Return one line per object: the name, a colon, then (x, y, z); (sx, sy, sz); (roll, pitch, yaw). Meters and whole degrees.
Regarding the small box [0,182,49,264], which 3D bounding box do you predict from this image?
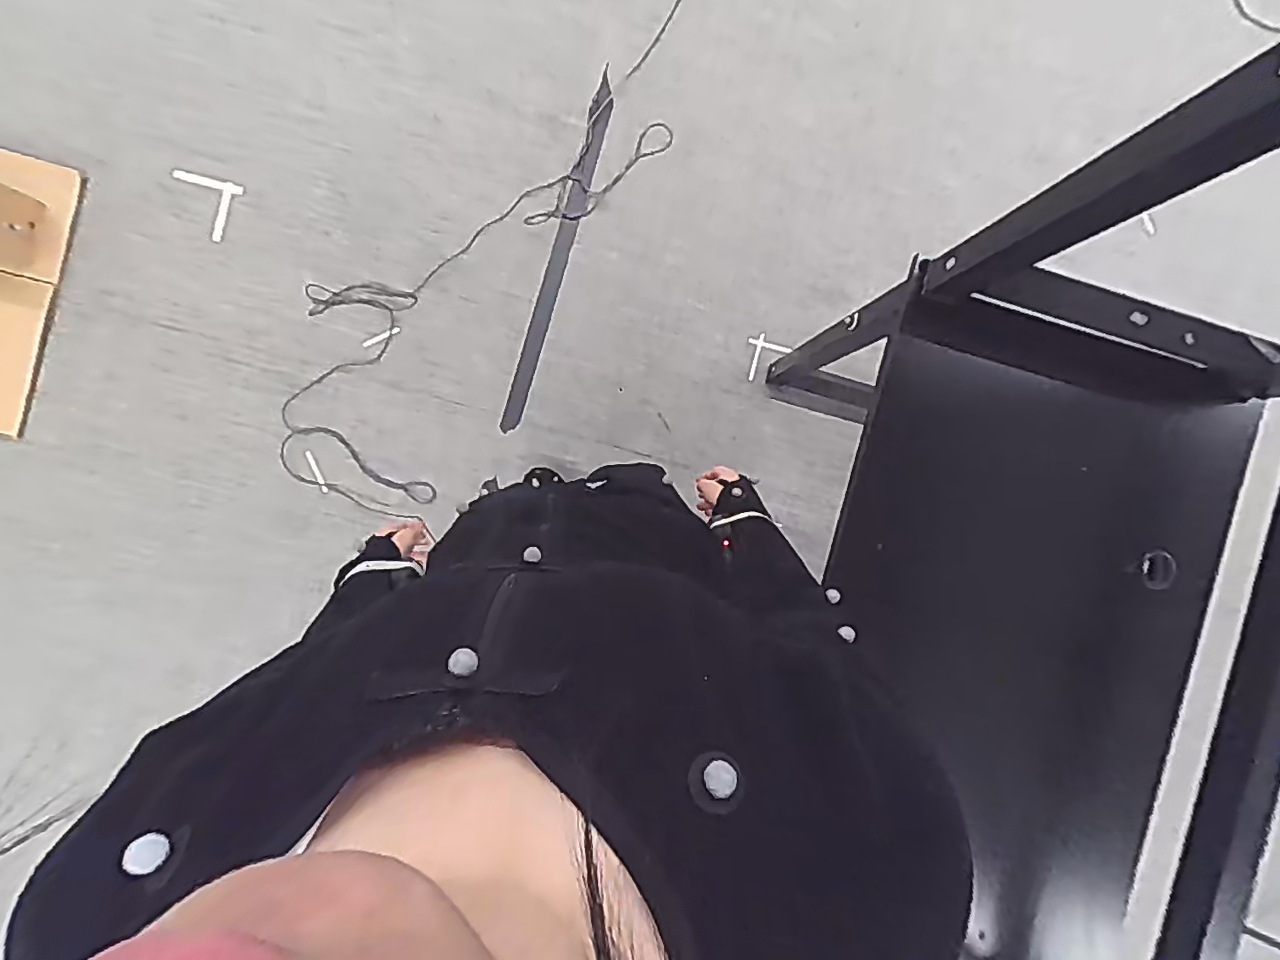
small box: (-1.584, -0.635, 1.276); (0.179, 0.176, 0.168); (15, 90, -6)
